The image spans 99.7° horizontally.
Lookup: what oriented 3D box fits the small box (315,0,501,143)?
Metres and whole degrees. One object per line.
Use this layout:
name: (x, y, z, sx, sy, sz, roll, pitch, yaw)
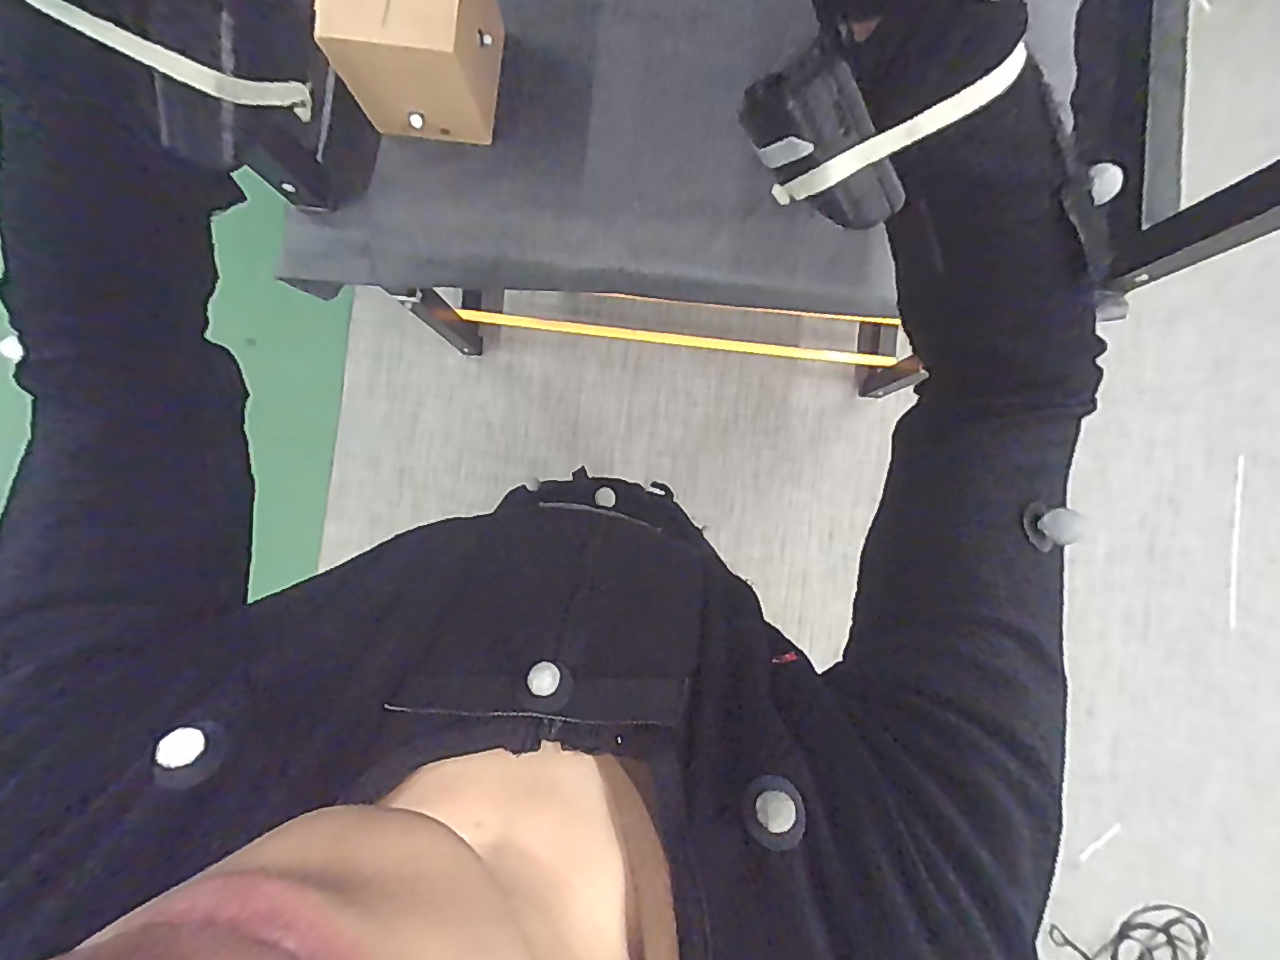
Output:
small box: (-0.285, -0.585, 0.704, 0.168, 0.176, 0.179, 6, 88, -1)
